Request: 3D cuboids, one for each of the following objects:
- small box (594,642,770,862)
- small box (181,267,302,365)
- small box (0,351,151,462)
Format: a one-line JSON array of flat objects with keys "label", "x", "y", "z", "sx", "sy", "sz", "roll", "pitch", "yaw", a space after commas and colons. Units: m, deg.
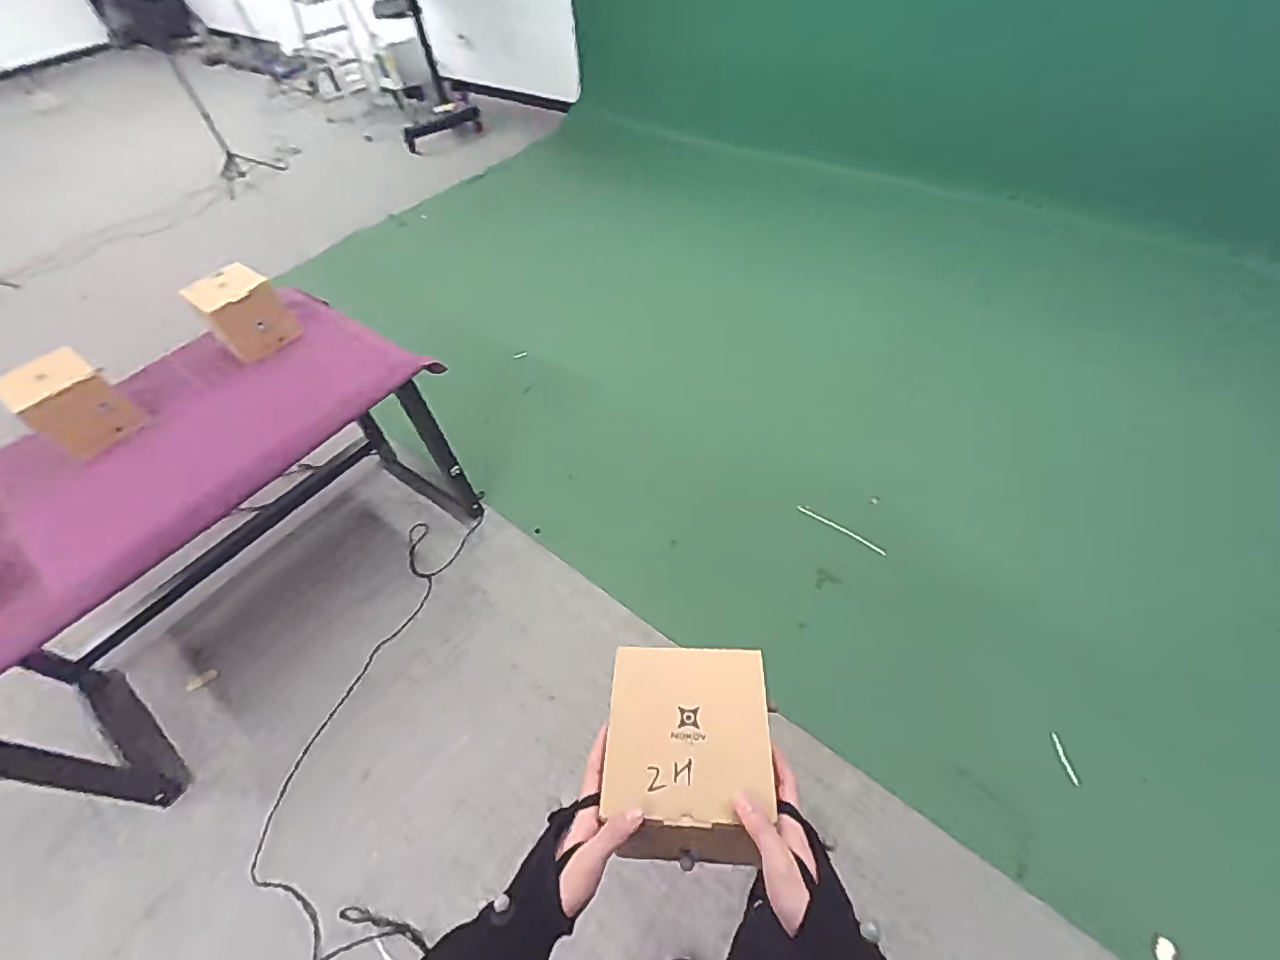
[{"label": "small box", "x": 0.048, "y": 0.304, "z": 0.609, "sx": 0.168, "sy": 0.176, "sz": 0.179, "roll": -1, "pitch": 45, "yaw": 6}, {"label": "small box", "x": -1.064, "y": -0.437, "z": 1.459, "sx": 0.179, "sy": 0.176, "sz": 0.168, "roll": 30, "pitch": 61, "yaw": 25}, {"label": "small box", "x": -1.326, "y": -0.169, "z": 1.279, "sx": 0.179, "sy": 0.176, "sz": 0.168, "roll": 29, "pitch": 60, "yaw": 25}]
